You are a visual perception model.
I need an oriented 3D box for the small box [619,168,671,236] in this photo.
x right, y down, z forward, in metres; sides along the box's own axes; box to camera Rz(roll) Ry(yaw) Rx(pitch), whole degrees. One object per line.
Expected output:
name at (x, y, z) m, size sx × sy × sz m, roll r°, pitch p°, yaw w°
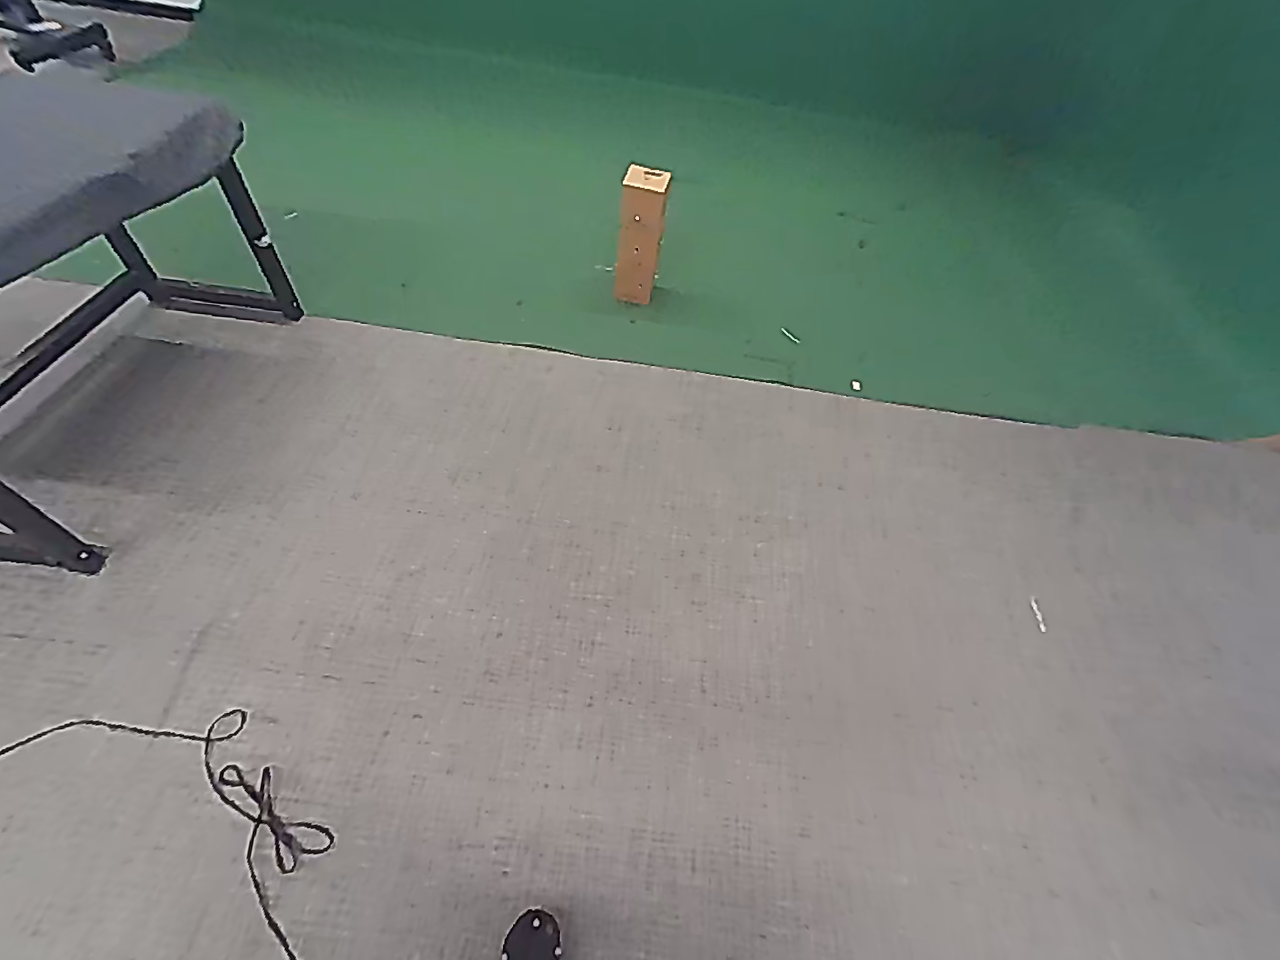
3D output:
small box at (0.016, -1.109, 2.161) m, size 0.168 × 0.176 × 0.179 m, roll 13°, pitch 53°, yaw 2°

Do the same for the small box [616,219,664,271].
small box at (-0.002, -1.008, 2.291) m, size 0.168 × 0.176 × 0.179 m, roll 13°, pitch 53°, yaw 1°

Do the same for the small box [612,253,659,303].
small box at (-0.024, -0.912, 2.398) m, size 0.168 × 0.176 × 0.179 m, roll 15°, pitch 51°, yaw 1°
